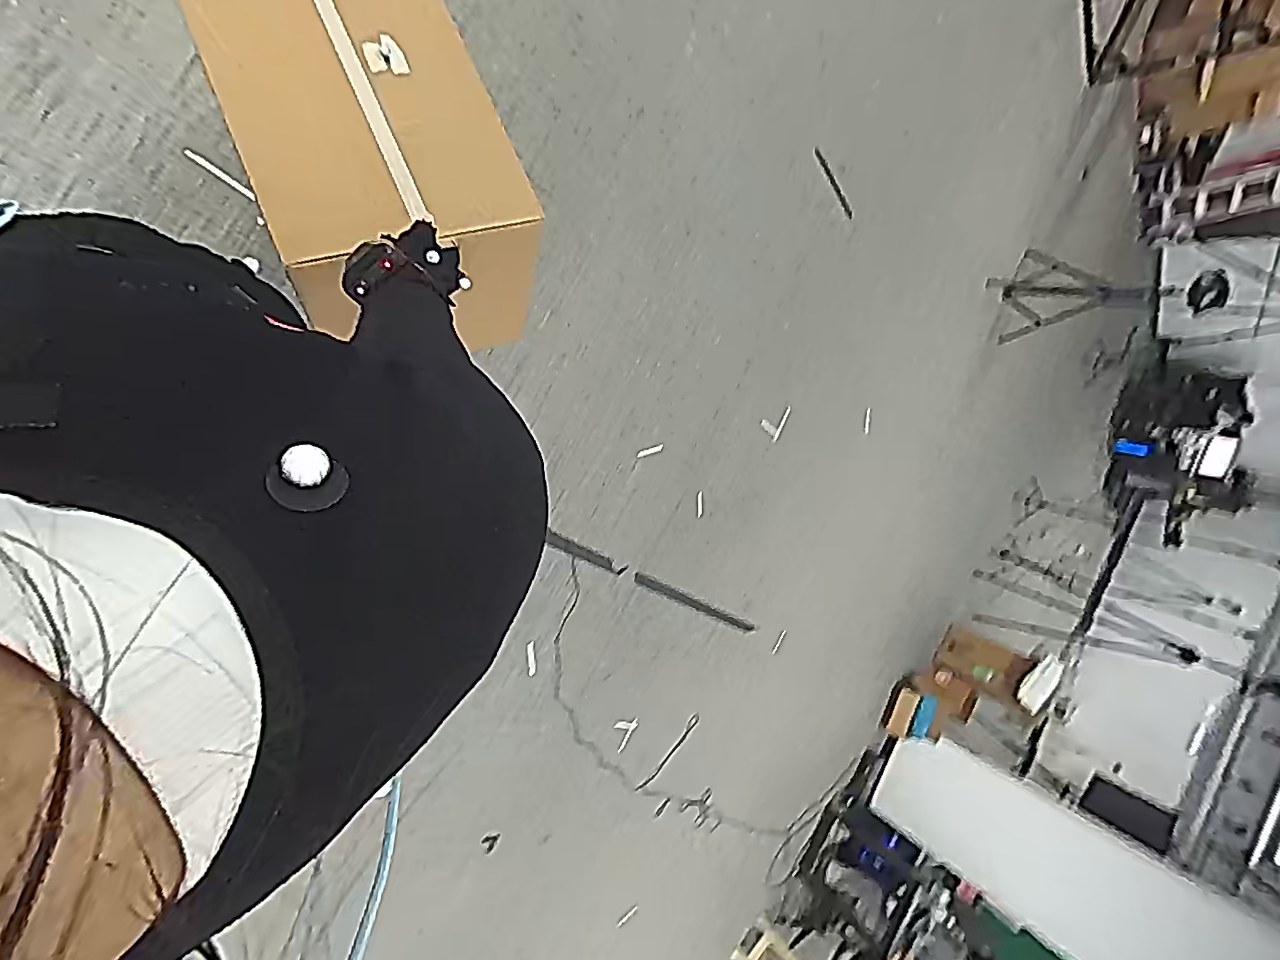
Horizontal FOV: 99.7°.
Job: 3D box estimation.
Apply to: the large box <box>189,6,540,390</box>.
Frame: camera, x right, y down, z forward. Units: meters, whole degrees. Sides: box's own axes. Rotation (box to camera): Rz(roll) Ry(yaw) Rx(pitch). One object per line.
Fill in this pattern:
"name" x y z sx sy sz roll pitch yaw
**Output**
"large box" -0.390 -0.414 0.838 0.320 0.320 0.408 -22 80 -24
